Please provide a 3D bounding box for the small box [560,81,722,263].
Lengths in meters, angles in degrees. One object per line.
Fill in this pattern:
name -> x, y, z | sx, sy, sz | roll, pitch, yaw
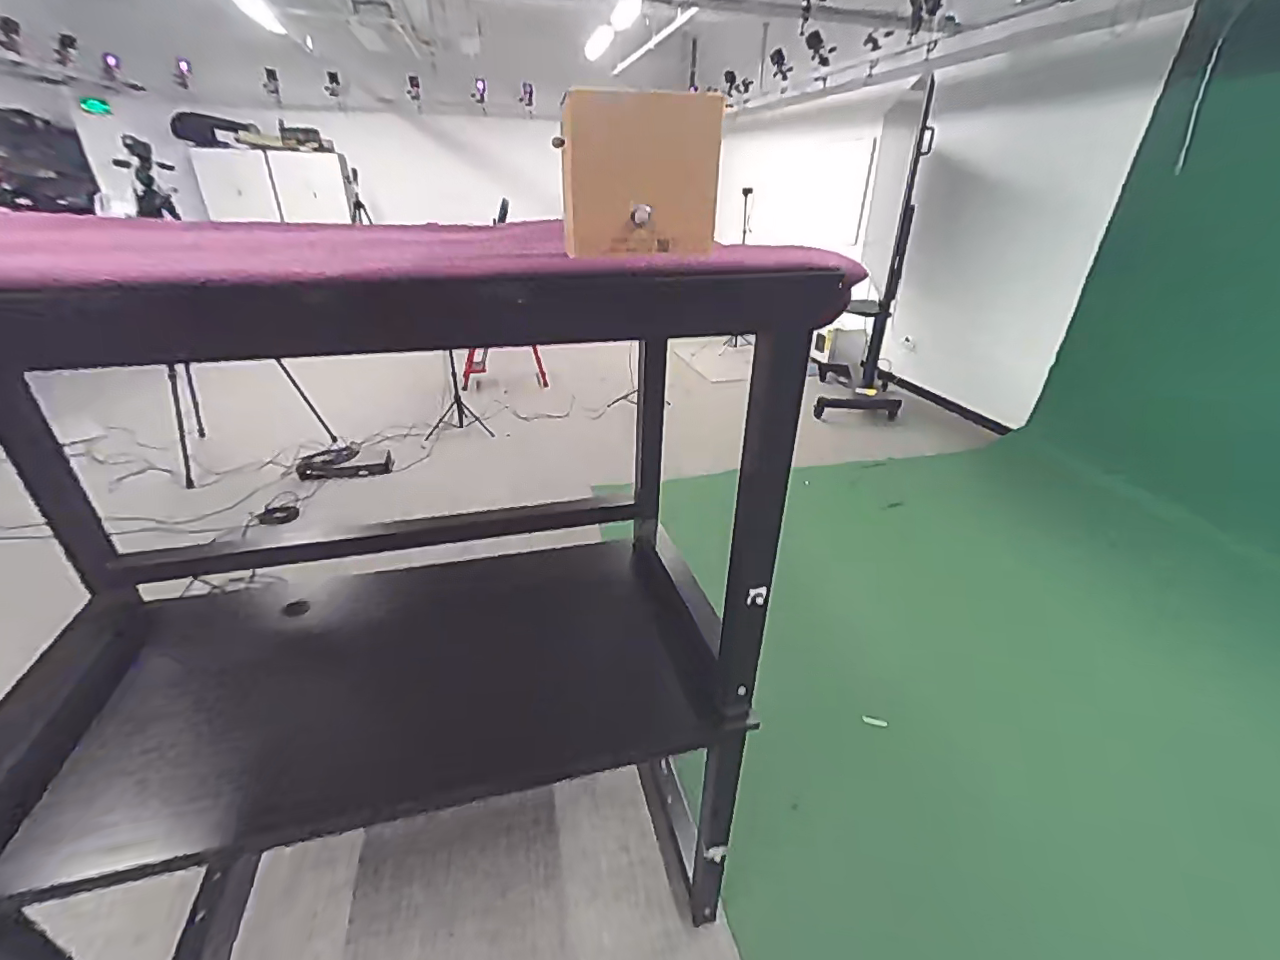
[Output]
small box -> -0.010, -0.364, 0.654 | 0.168, 0.176, 0.179 | -5, 30, -8
